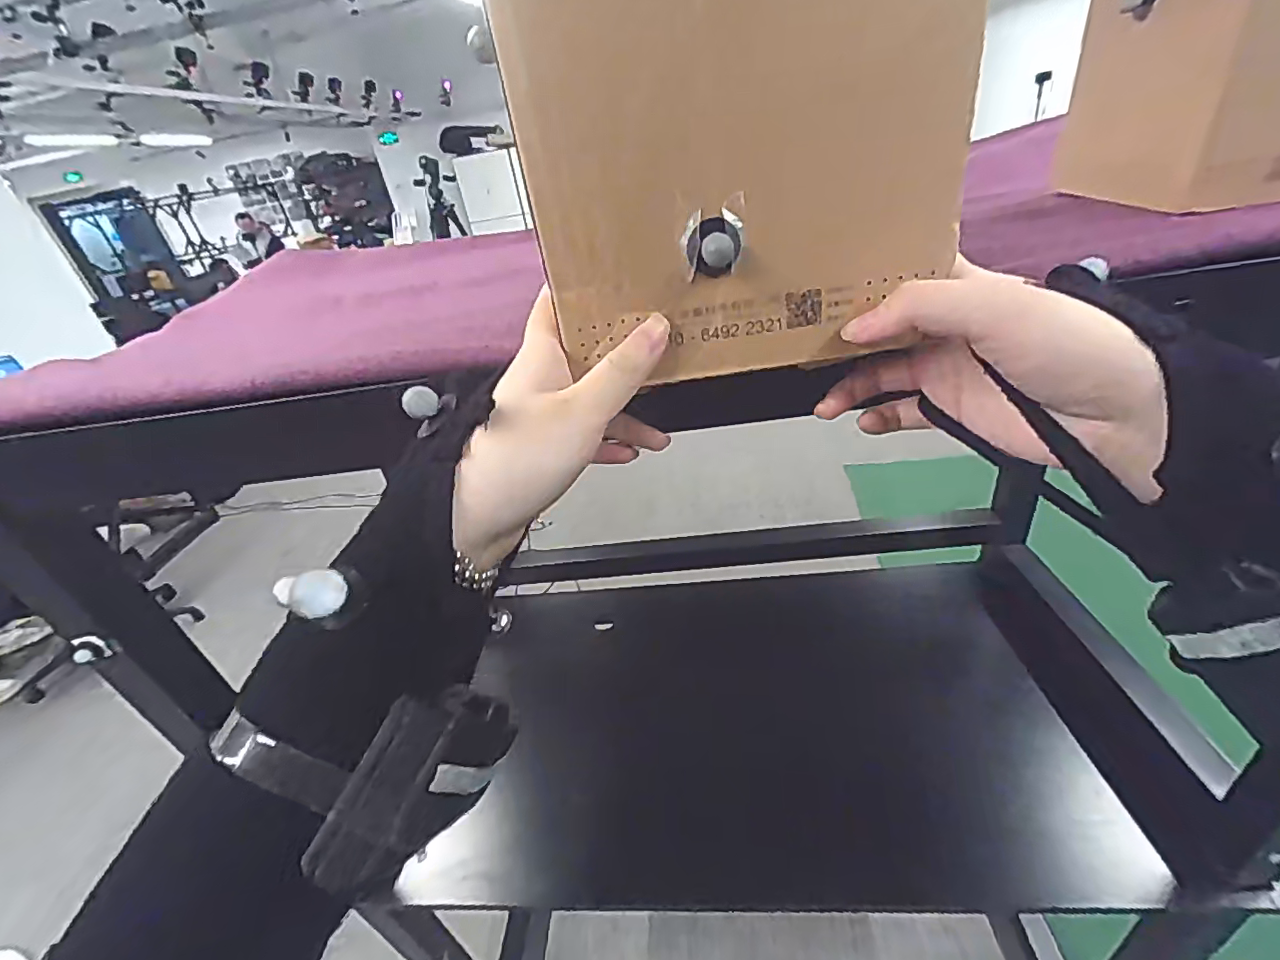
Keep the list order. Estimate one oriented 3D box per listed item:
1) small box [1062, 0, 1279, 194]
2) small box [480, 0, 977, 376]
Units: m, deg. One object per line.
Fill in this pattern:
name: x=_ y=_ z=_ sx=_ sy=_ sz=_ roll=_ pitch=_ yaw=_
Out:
small box: x=0.419 y=-0.296 z=0.352 sx=0.168 sy=0.176 sz=0.179 roll=-4 pitch=33 yaw=13
small box: x=0.031 y=-0.164 z=0.266 sx=0.168 sy=0.176 sz=0.179 roll=-8 pitch=31 yaw=3
